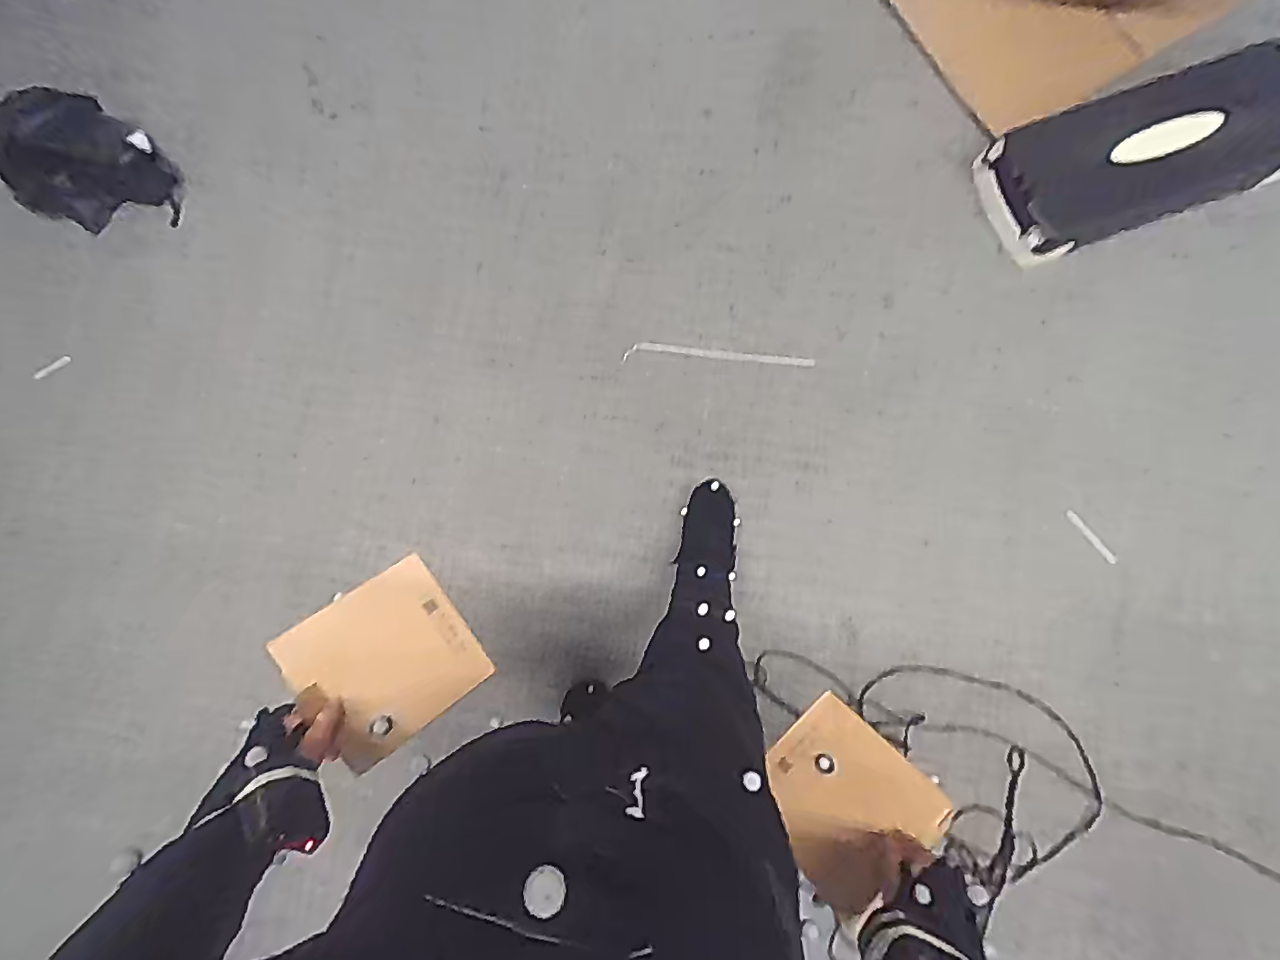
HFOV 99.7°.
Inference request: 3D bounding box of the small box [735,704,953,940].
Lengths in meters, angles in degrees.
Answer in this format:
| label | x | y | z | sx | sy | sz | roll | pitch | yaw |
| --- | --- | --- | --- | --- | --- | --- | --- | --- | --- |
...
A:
| label | x | y | z | sx | sy | sz | roll | pitch | yaw |
| --- | --- | --- | --- | --- | --- | --- | --- | --- | --- |
| small box | 0.242 | 0.405 | 0.655 | 0.168 | 0.179 | 0.176 | -41 | 47 | -10 |
